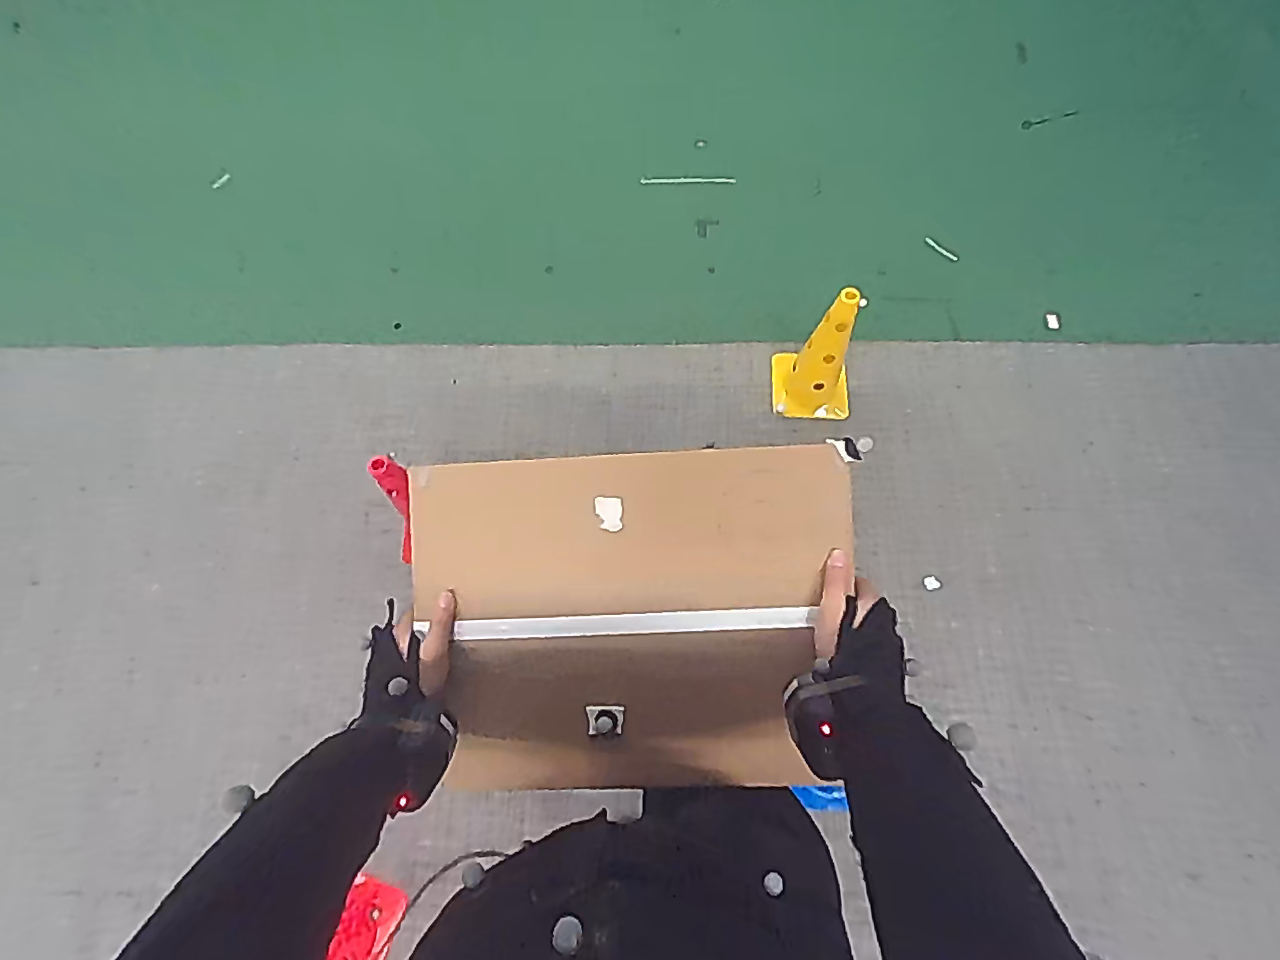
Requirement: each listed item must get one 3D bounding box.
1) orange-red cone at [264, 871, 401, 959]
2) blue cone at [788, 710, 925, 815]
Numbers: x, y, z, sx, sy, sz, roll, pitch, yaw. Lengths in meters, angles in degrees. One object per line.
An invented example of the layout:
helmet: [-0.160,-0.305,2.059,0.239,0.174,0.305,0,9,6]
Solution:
orange-red cone: [-0.584,0.808,0.862,0.199,0.360,0.198,18,67,12]
blue cone: [0.395,0.507,0.955,0.192,0.380,0.193,1,66,3]
